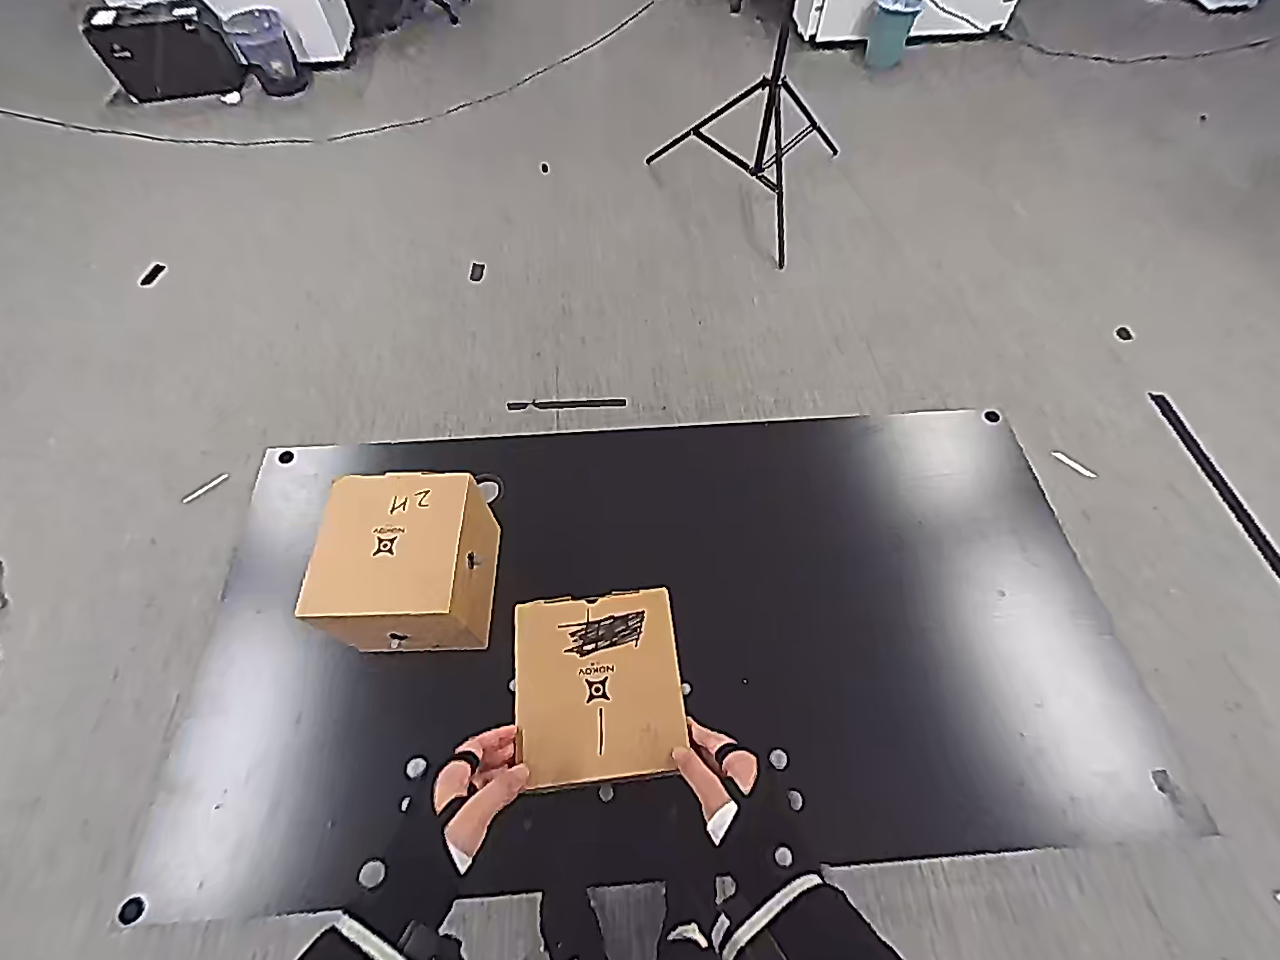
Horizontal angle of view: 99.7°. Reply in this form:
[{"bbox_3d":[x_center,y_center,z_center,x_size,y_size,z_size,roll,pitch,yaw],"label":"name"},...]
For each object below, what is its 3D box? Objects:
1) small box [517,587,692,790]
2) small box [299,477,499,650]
[{"bbox_3d":[-0.041,0.239,0.608,0.168,0.176,0.179,-7,60,-3],"label":"small box"},{"bbox_3d":[-0.284,0.113,0.686,0.168,0.176,0.179,-2,59,-1],"label":"small box"}]
